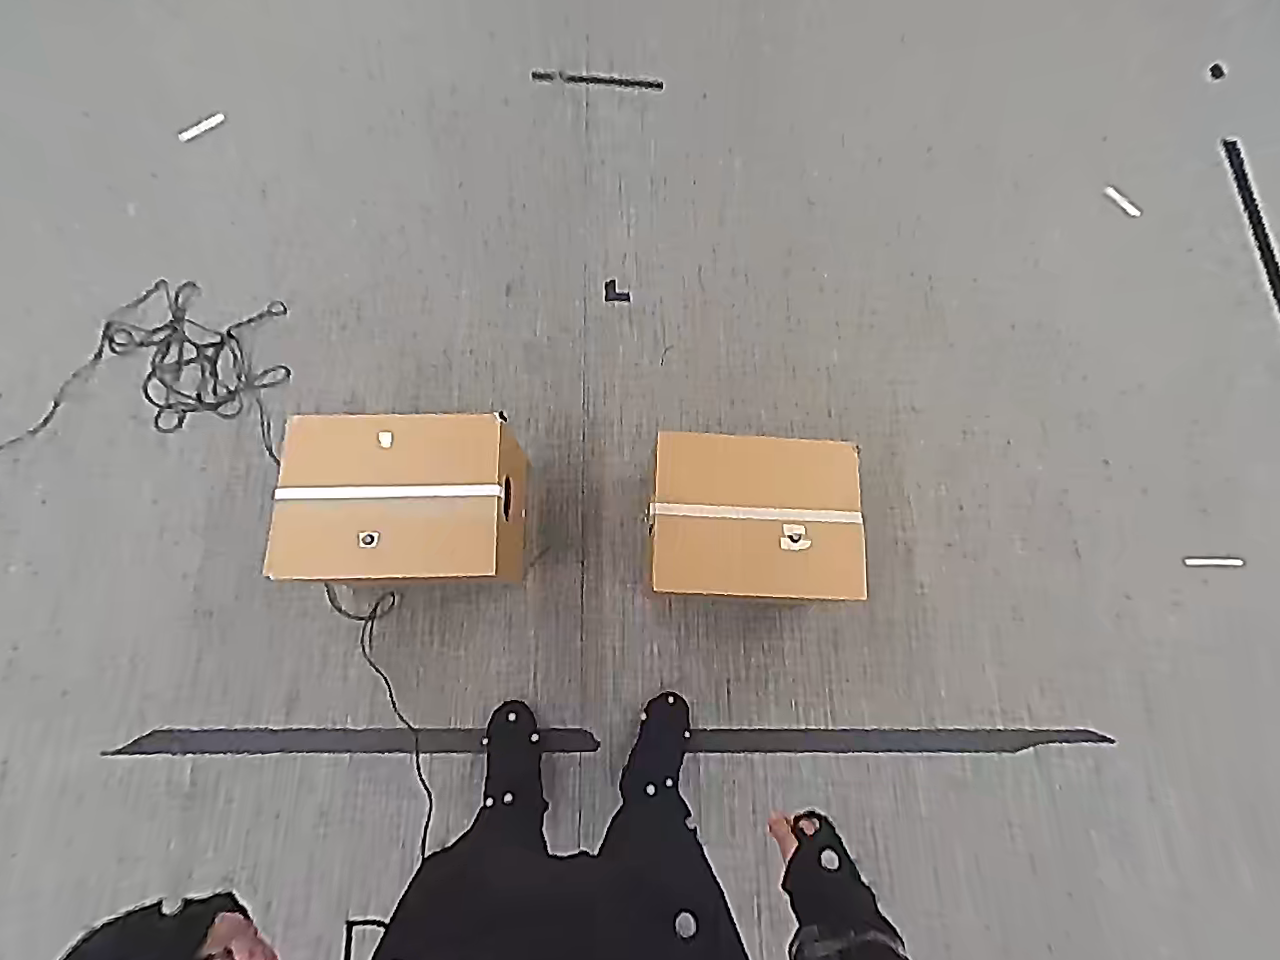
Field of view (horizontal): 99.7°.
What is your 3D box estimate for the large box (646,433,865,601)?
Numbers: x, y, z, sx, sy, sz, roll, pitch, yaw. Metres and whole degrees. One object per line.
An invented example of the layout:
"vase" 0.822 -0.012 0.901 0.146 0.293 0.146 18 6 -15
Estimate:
"large box" 0.222 0.100 1.192 0.408 0.320 0.320 3 76 -3
